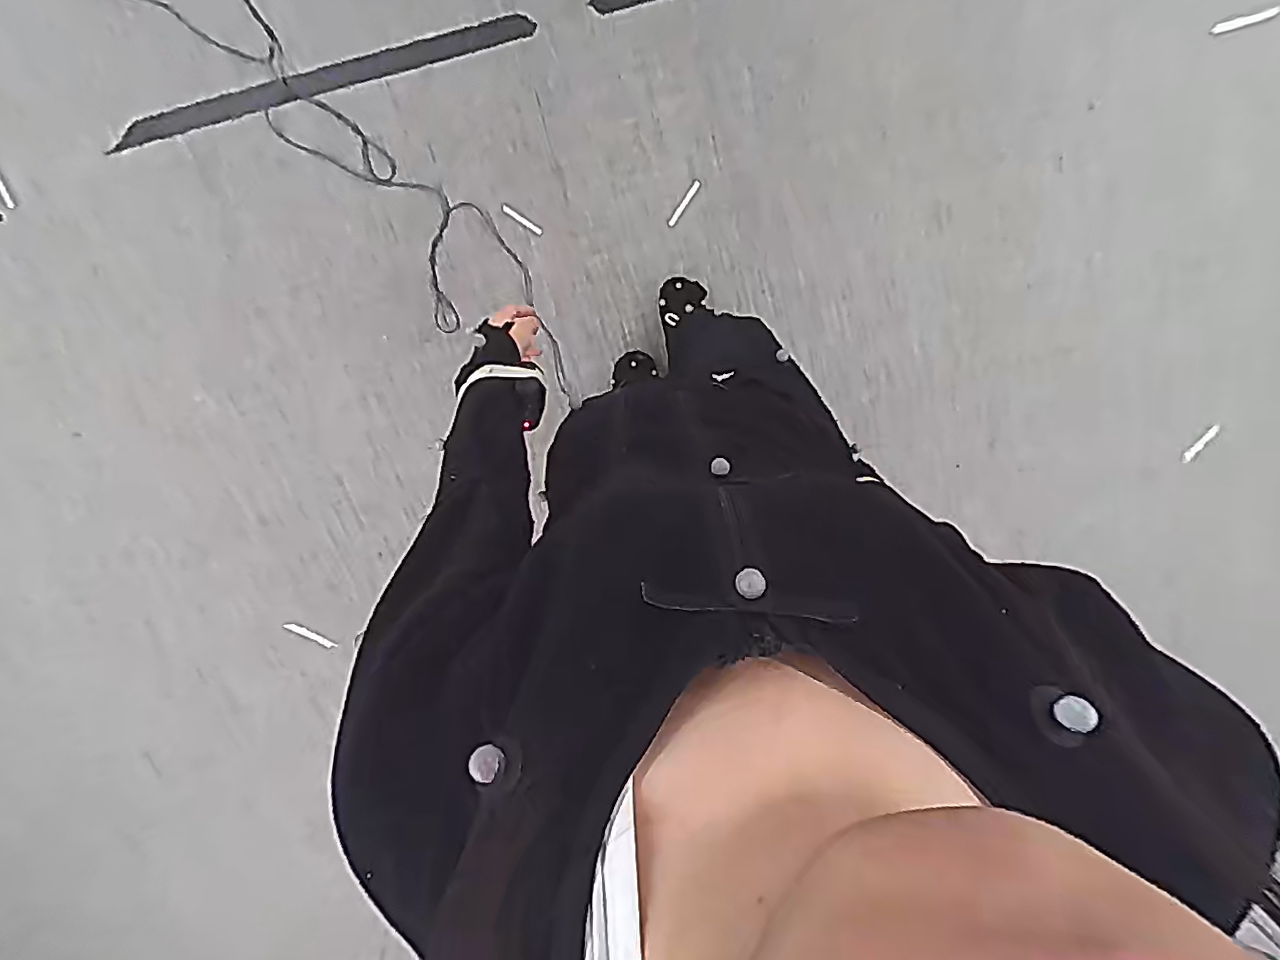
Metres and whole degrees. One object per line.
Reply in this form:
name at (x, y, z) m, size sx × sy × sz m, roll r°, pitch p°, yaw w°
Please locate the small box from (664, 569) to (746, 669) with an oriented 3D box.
small box at (0.172, 0.373, 1.471) m, size 0.168 × 0.176 × 0.179 m, roll -21°, pitch 105°, yaw 3°
